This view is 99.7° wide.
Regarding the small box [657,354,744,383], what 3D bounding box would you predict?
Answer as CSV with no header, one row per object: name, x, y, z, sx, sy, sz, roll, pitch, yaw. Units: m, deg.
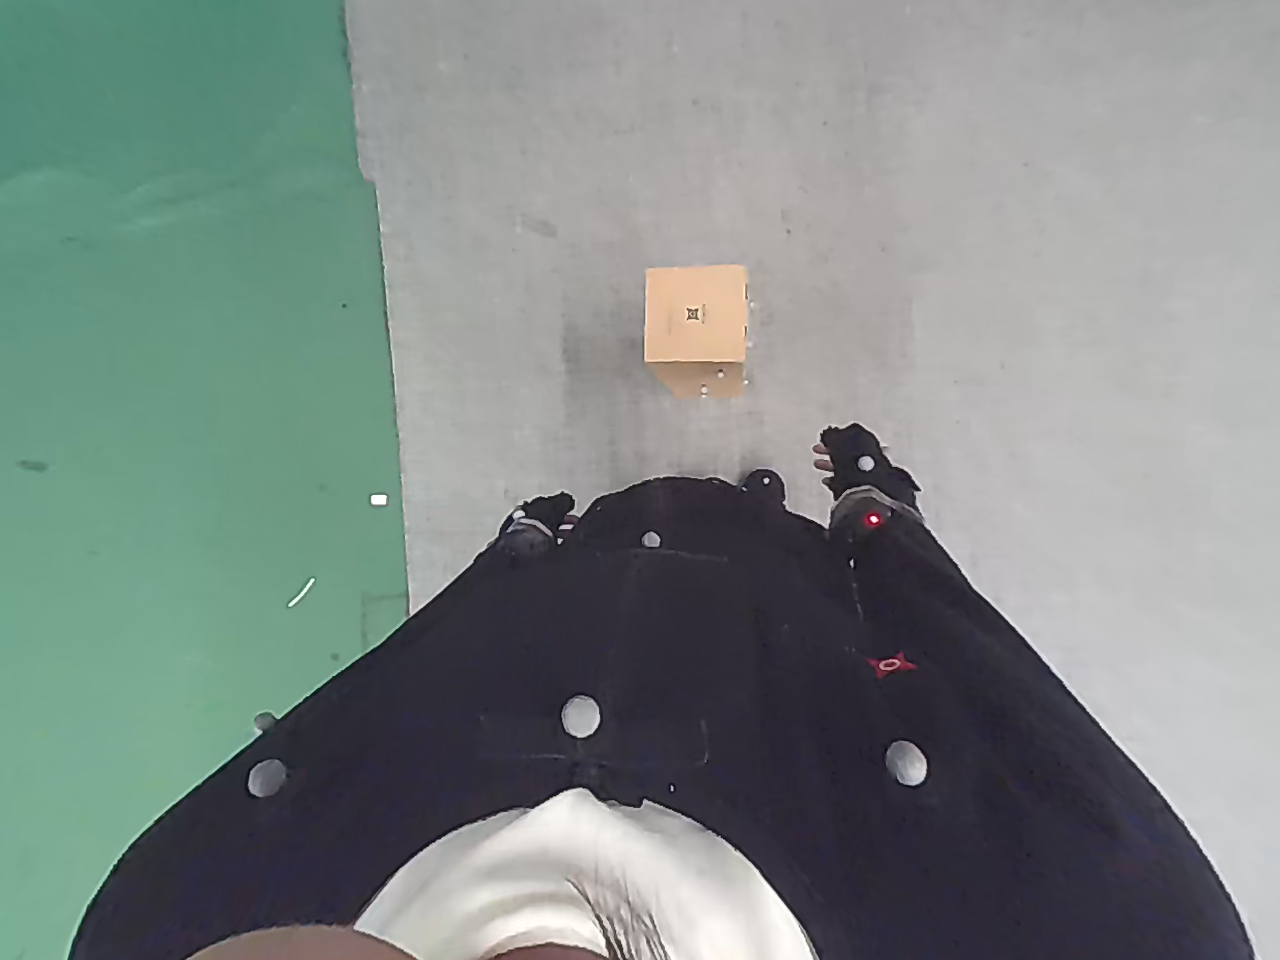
small box,0.132,-0.302,1.167,0.179,0.176,0.168,-1,93,10

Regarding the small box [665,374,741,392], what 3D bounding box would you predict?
small box,0.159,-0.309,1.325,0.179,0.176,0.168,1,92,10

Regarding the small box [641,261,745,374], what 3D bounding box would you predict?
small box,0.103,-0.293,1.004,0.179,0.176,0.168,1,91,11
